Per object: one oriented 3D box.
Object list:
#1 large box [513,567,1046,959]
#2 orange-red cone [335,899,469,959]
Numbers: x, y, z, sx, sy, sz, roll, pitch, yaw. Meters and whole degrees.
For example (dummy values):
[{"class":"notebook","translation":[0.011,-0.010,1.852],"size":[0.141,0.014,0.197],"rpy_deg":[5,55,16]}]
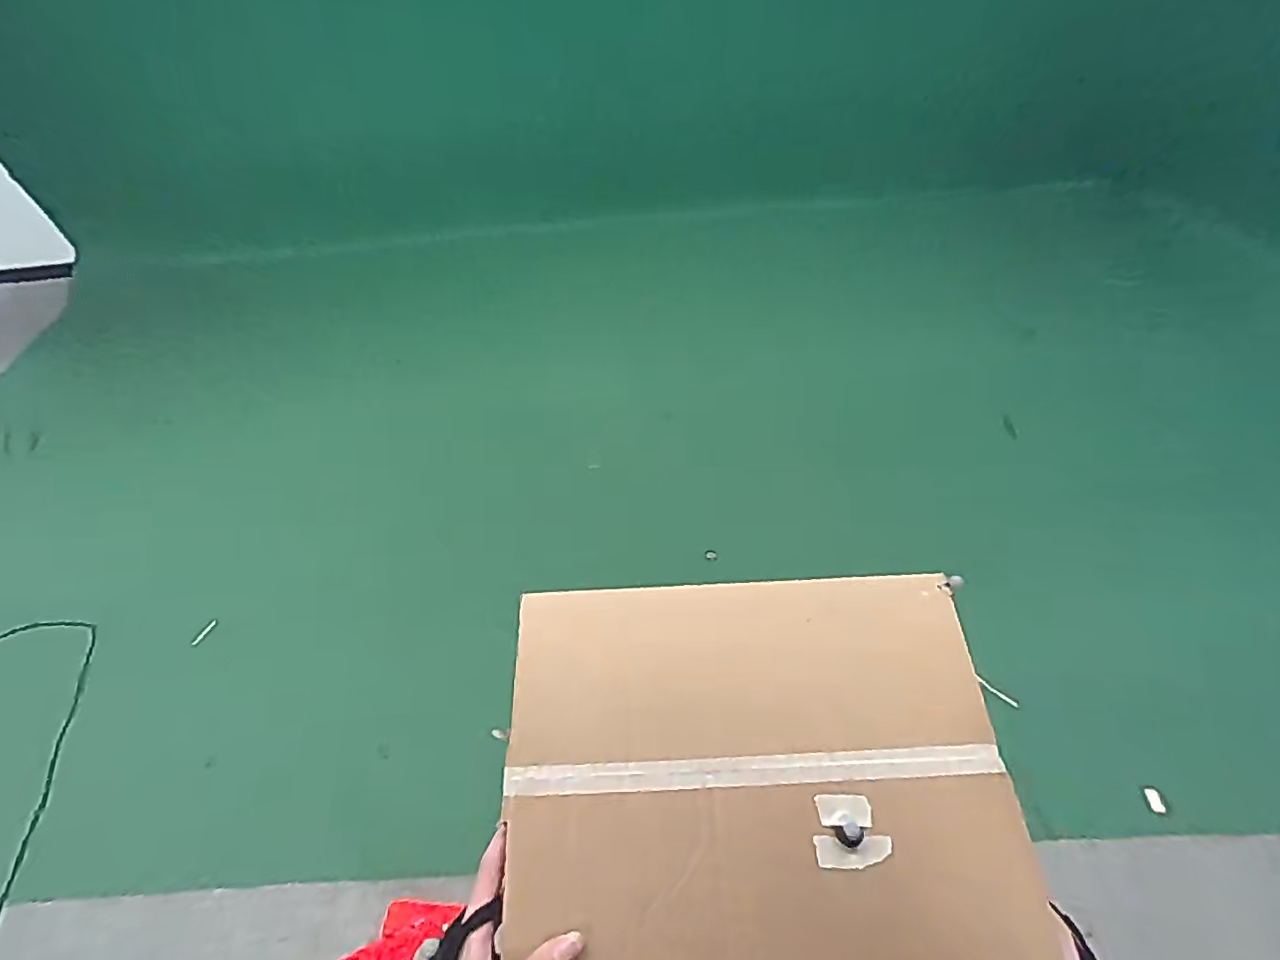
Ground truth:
[{"class":"large box","translation":[0.097,0.301,0.595],"size":[0.408,0.320,0.320],"rpy_deg":[-3,64,0]},{"class":"orange-red cone","translation":[-0.516,0.970,1.085],"size":[0.199,0.360,0.198],"rpy_deg":[0,52,8]}]
